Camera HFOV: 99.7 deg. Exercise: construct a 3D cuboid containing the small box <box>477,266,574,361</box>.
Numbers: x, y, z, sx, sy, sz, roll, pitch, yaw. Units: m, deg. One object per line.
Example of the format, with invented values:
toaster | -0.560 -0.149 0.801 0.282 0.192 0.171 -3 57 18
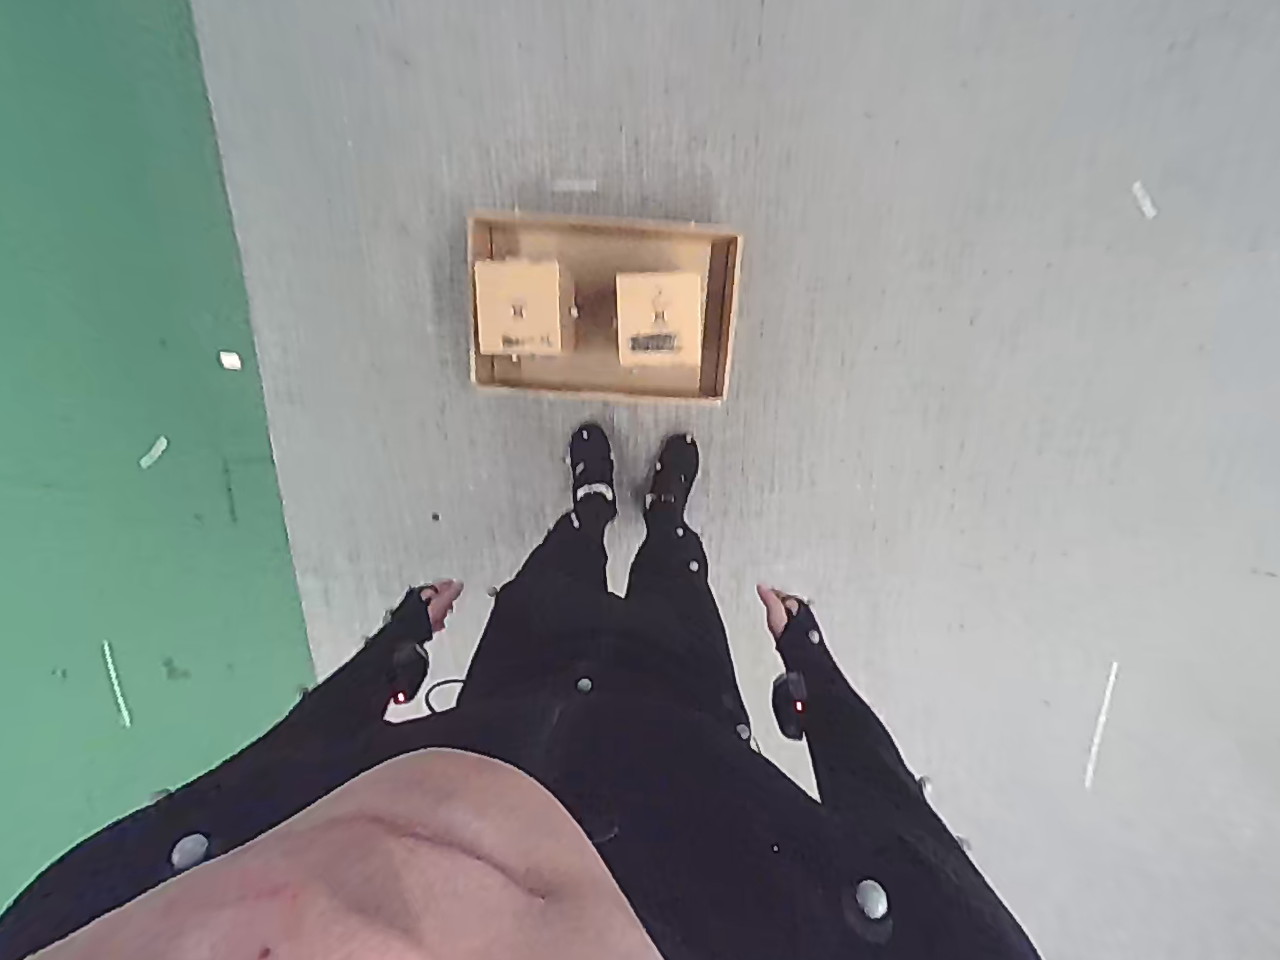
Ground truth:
small box | -0.235 -0.343 1.139 0.168 0.176 0.179 1 102 2
